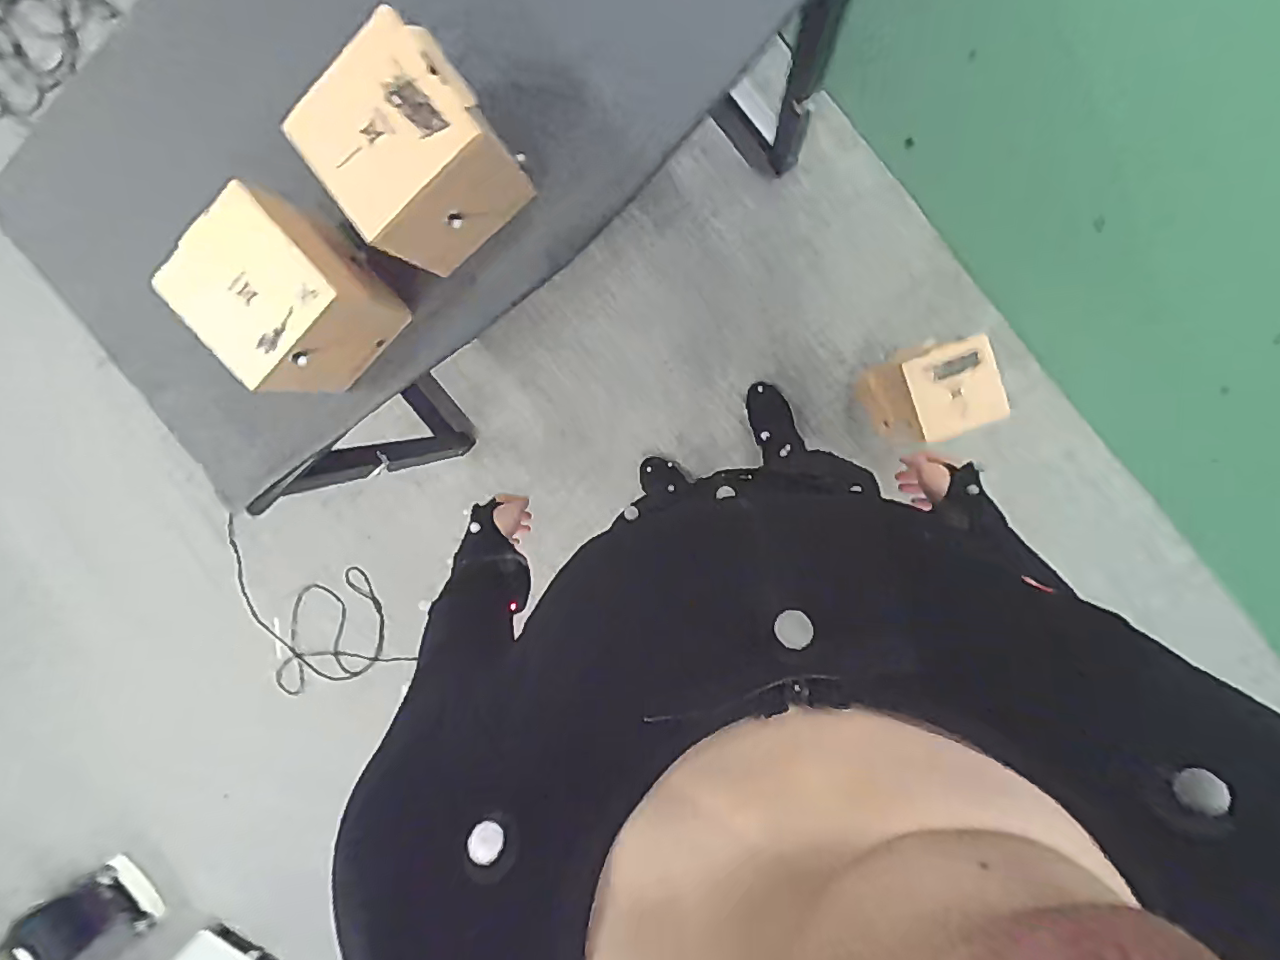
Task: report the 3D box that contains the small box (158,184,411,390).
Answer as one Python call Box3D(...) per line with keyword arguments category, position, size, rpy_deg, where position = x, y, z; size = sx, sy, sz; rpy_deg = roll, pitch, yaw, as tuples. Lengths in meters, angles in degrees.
Box3D(category="small box", position=(-0.445, -0.231, 0.703), size=(0.168, 0.176, 0.179), rpy_deg=(-41, 91, 12))

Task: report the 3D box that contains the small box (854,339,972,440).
Box3D(category="small box", position=(0.644, -0.216, 1.296), size=(0.168, 0.176, 0.179), rpy_deg=(-31, 93, 11))
